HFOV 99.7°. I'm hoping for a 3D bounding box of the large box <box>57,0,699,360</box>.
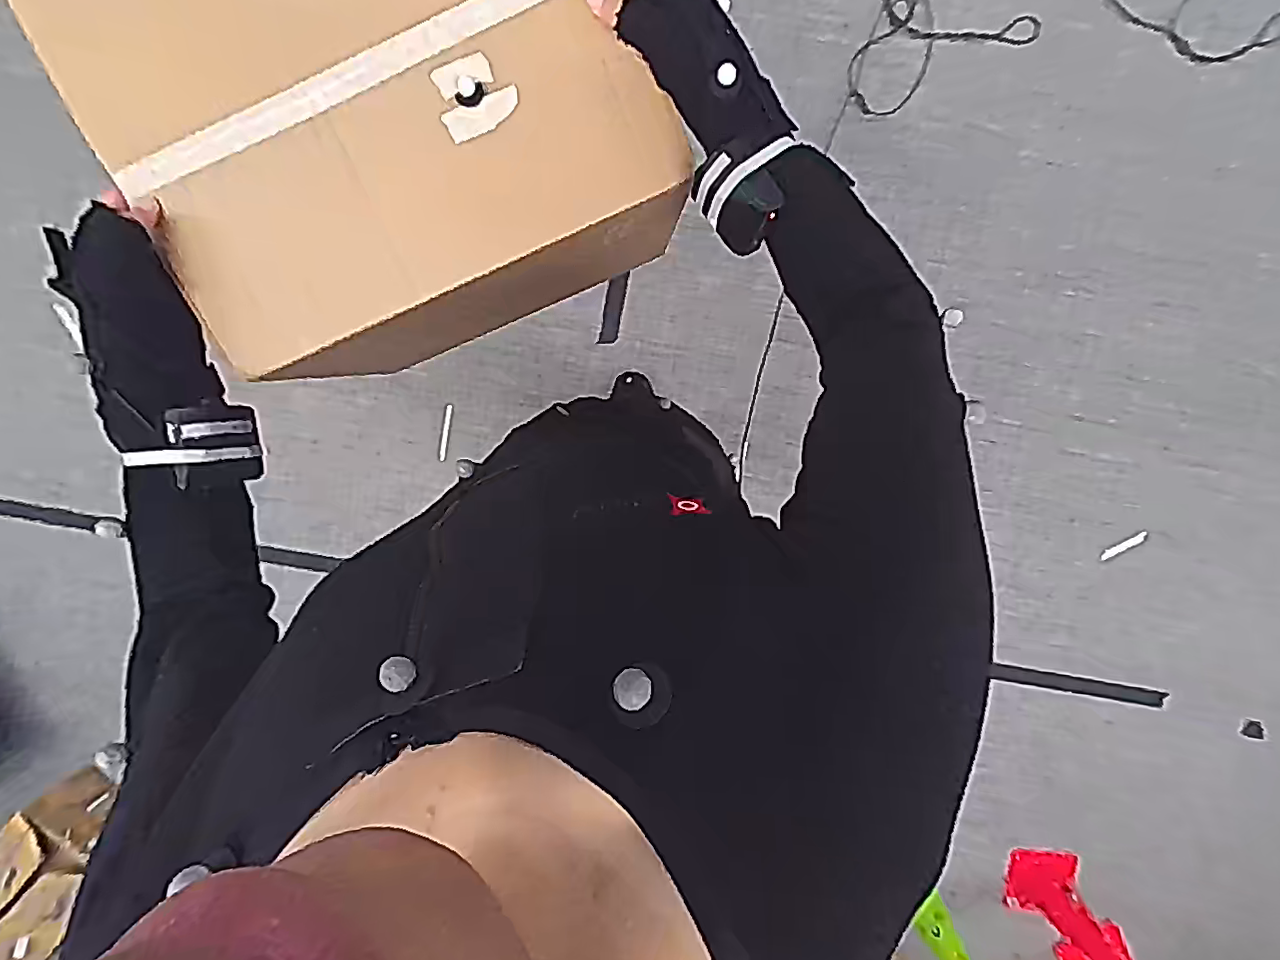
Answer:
[{"bbox_3d":[-0.198,-0.343,0.549,0.408,0.320,0.320,-22,103,2],"label":"large box"}]
